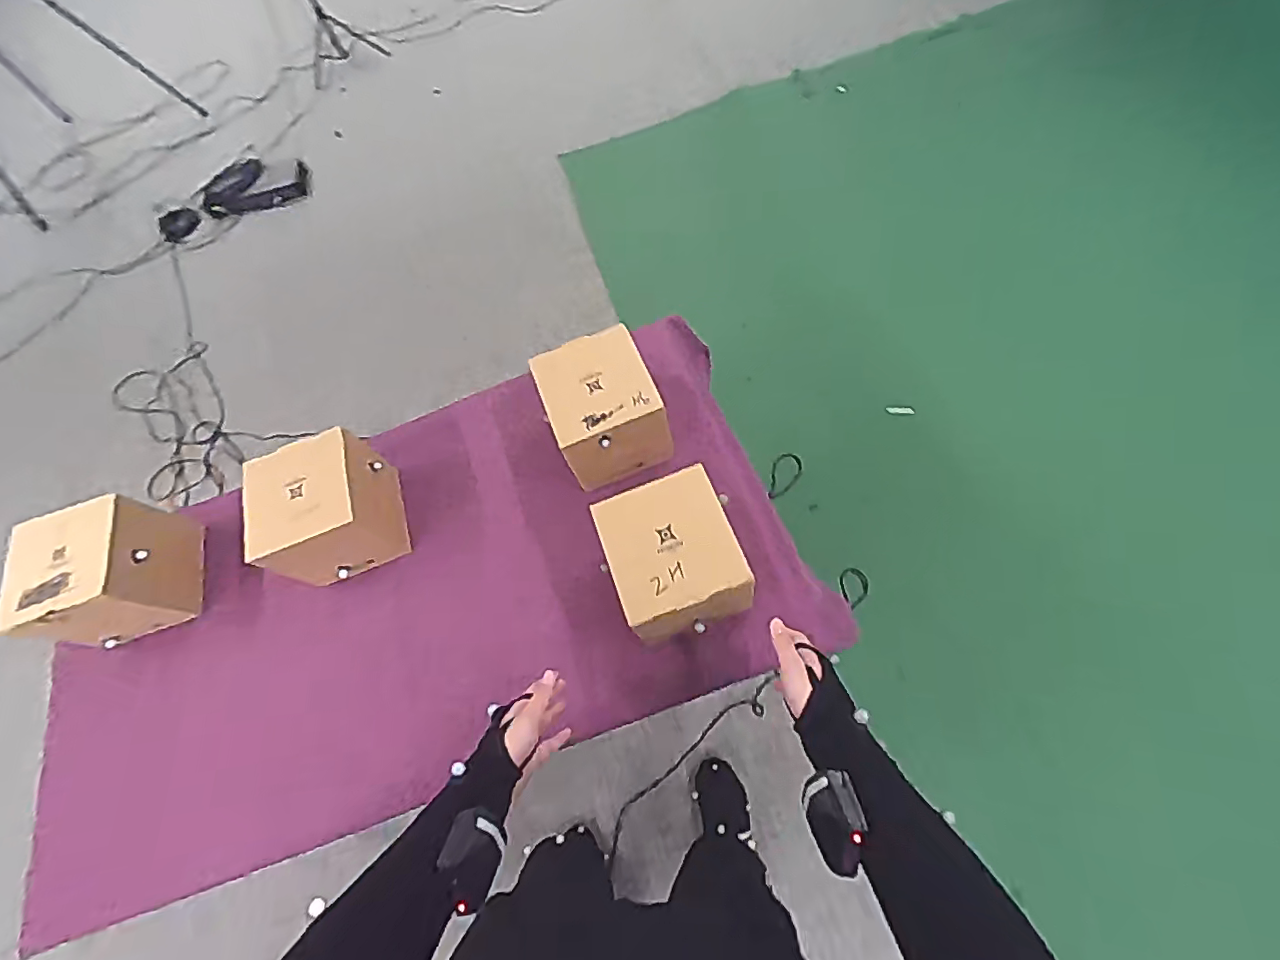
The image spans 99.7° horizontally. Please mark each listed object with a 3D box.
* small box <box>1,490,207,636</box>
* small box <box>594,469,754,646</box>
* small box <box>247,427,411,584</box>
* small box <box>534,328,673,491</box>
[{"bbox_3d":[-0.855,0.145,0.884,0.168,0.176,0.179,-18,65,-1],"label":"small box"},{"bbox_3d":[0.050,0.116,0.767,0.168,0.176,0.179,-21,63,1],"label":"small box"},{"bbox_3d":[-0.500,0.048,0.884,0.168,0.176,0.179,-21,65,-1],"label":"small box"},{"bbox_3d":[-0.055,-0.109,0.891,0.168,0.176,0.179,-22,64,-1],"label":"small box"}]
